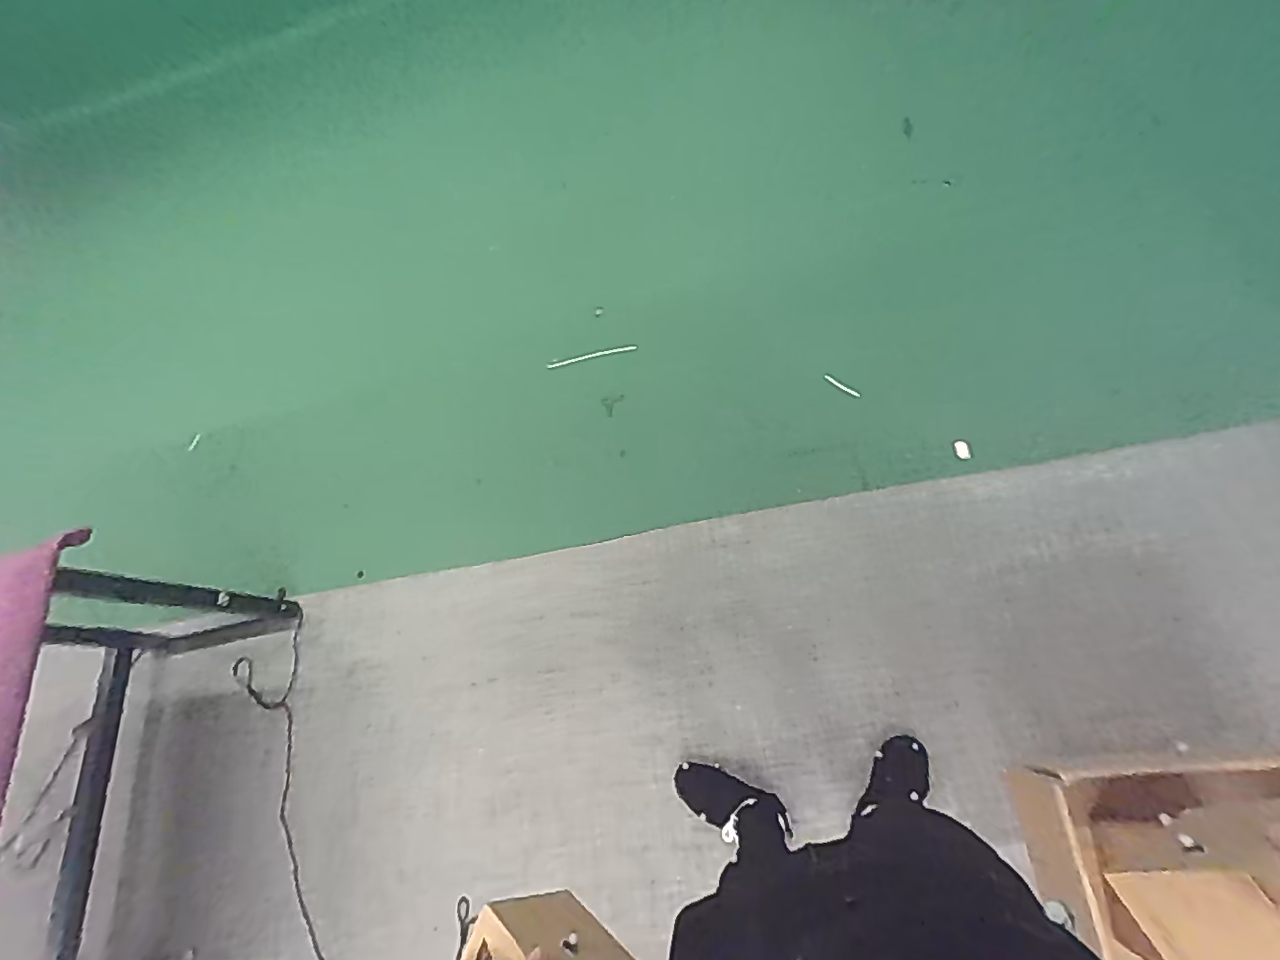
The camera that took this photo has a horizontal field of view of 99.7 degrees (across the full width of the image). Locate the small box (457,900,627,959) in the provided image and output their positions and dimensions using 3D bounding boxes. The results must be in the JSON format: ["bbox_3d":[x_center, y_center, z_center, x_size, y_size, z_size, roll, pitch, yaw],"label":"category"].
[{"bbox_3d":[-0.125,0.648,0.653,0.179,0.176,0.168,13,72,40],"label":"small box"}]

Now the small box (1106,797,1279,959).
[{"bbox_3d":[0.653,0.460,0.565,0.179,0.176,0.168,-14,57,-20],"label":"small box"}]
